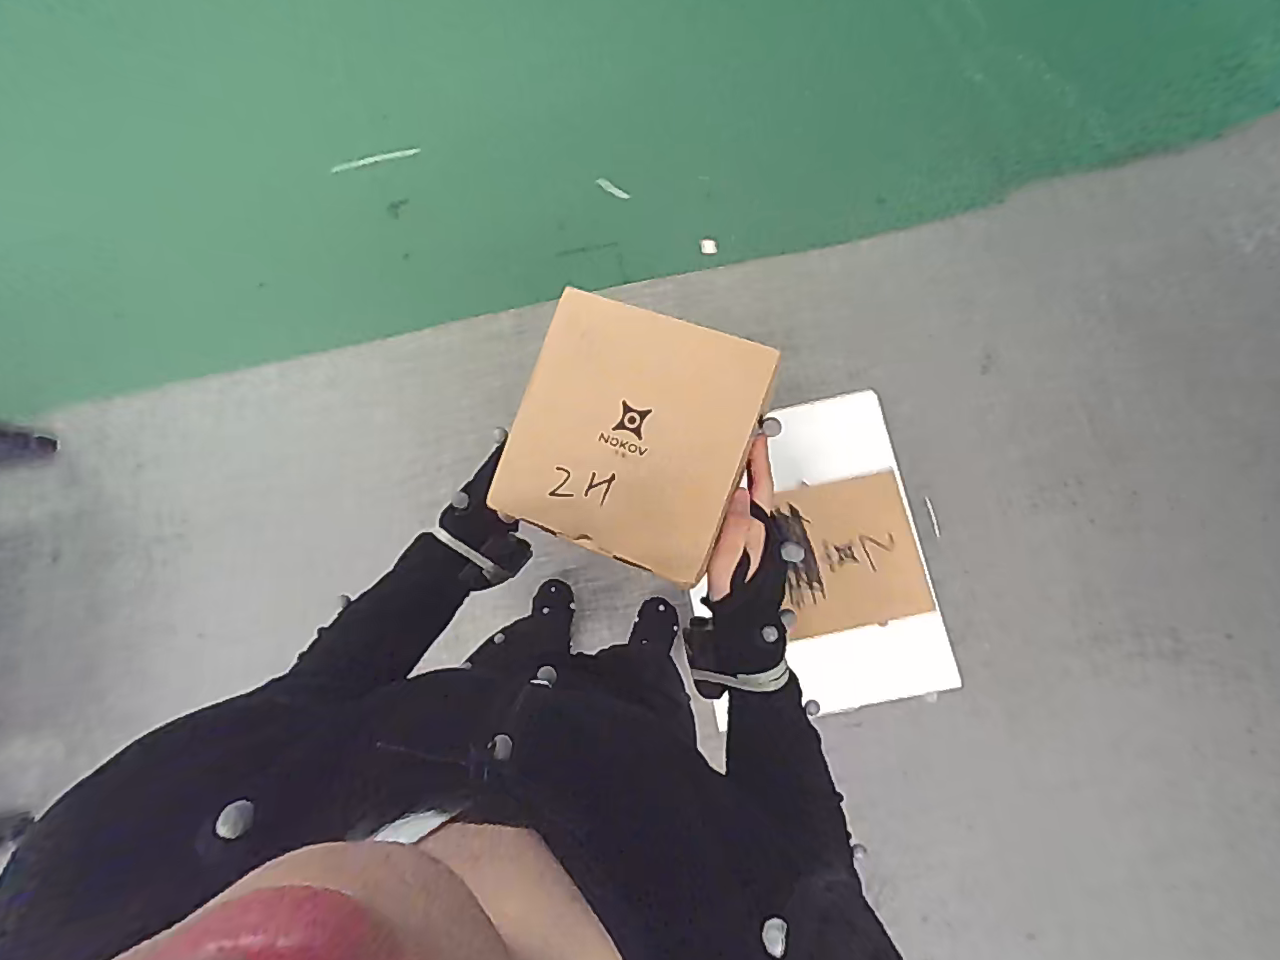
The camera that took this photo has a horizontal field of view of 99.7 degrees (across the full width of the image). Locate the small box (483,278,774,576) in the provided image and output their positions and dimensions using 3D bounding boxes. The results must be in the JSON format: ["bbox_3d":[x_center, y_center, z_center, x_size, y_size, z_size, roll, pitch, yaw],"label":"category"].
[{"bbox_3d":[0.002,-0.035,0.456,0.168,0.176,0.179,19,89,12],"label":"small box"}]

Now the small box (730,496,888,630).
[{"bbox_3d":[0.245,0.126,0.826,0.179,0.176,0.168,-9,79,2],"label":"small box"}]
